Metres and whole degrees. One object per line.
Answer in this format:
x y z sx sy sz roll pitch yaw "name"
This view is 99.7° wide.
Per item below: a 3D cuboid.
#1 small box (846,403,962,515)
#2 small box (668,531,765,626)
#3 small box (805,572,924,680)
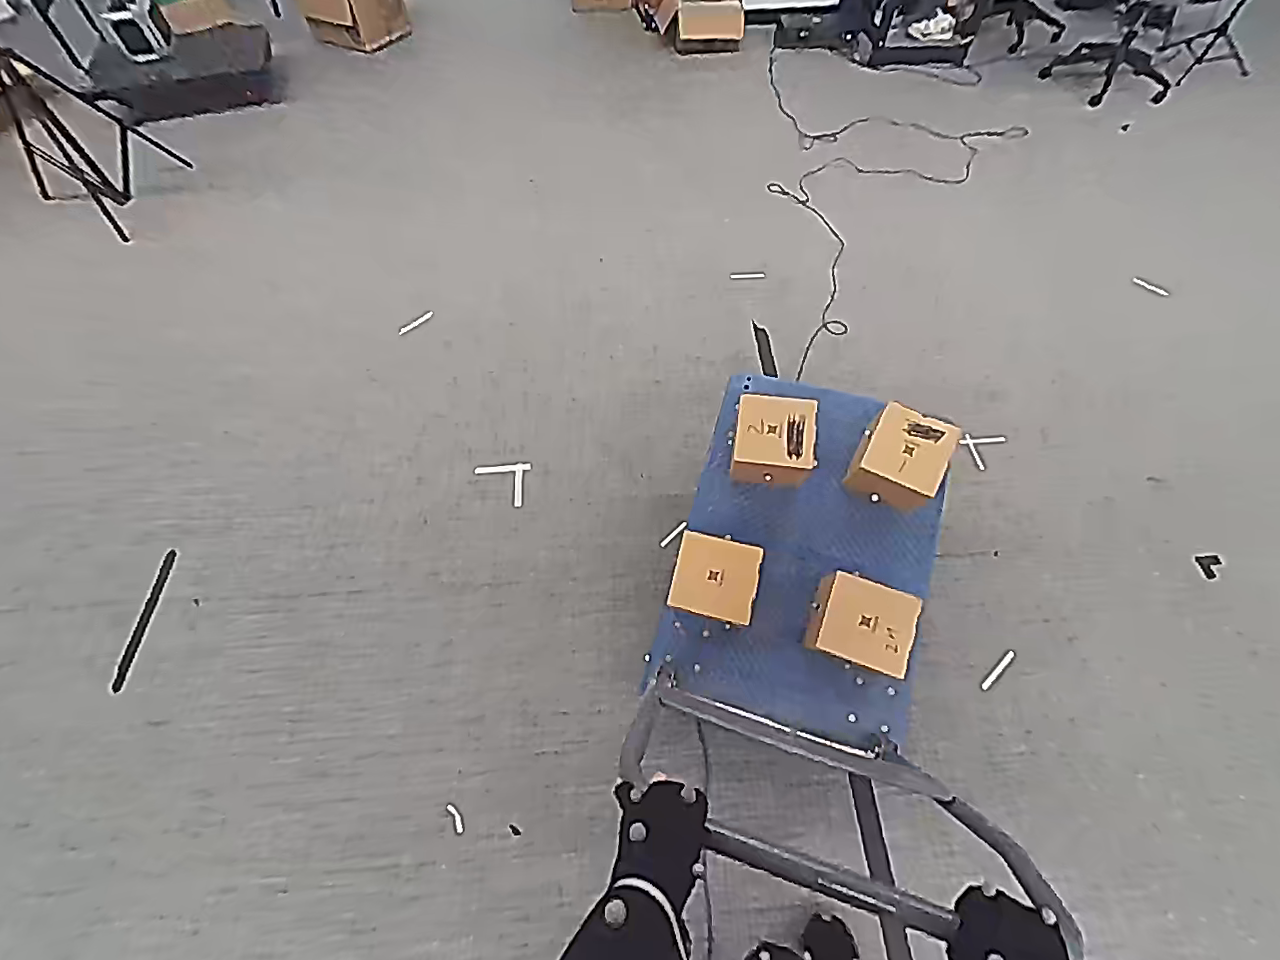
0.599 -0.043 1.250 0.168 0.176 0.179 26 79 13 "small box"
0.168 0.228 1.213 0.179 0.176 0.168 13 75 8 "small box"
0.468 0.313 1.156 0.179 0.176 0.168 19 77 11 "small box"
